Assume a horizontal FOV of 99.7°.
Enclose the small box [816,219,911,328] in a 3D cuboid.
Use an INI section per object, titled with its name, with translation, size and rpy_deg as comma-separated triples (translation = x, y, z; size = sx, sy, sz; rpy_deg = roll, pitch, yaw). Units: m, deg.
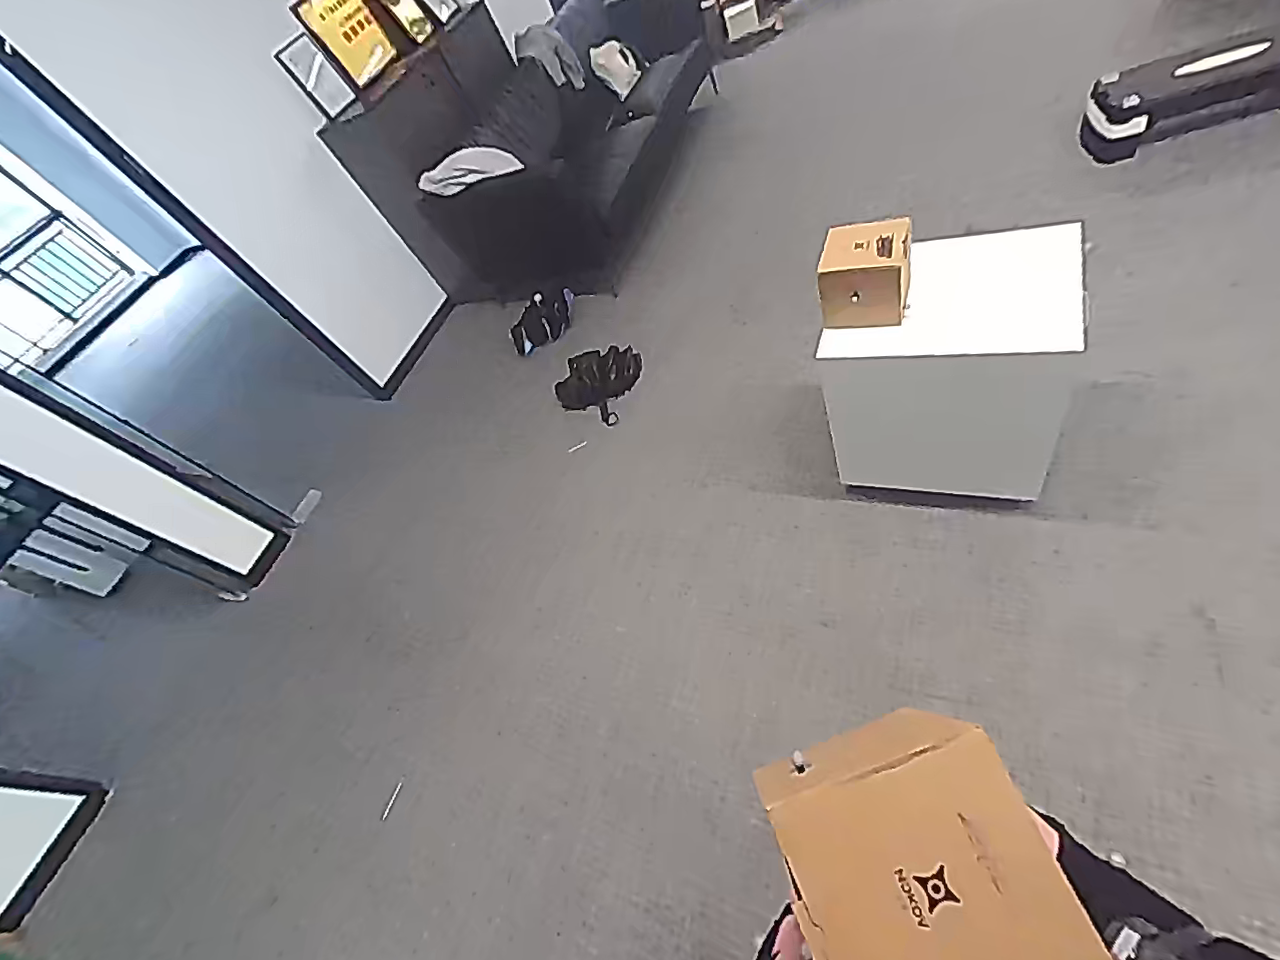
[small box]
translation = 0.528, -0.474, 1.263
size = 0.179, 0.176, 0.168
rpy_deg = 6, 59, 31
